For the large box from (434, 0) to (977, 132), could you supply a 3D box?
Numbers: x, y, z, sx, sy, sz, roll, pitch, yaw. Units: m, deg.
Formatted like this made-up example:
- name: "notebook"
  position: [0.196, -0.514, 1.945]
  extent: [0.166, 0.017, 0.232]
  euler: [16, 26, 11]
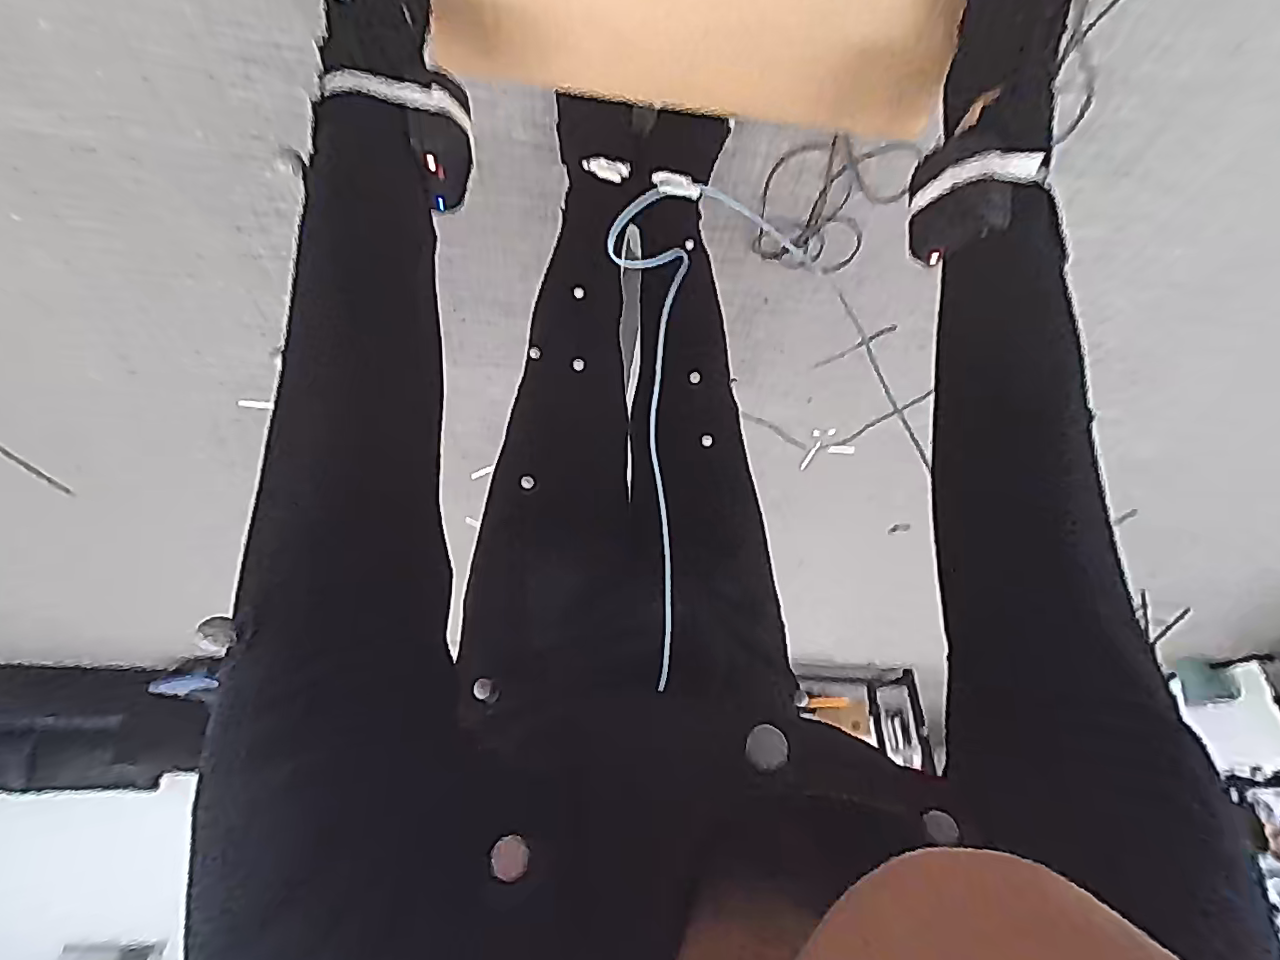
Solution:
- name: "large box"
  position: [0.057, -0.521, 0.410]
  extent: [0.408, 0.320, 0.320]
  euler: [5, 146, -5]
